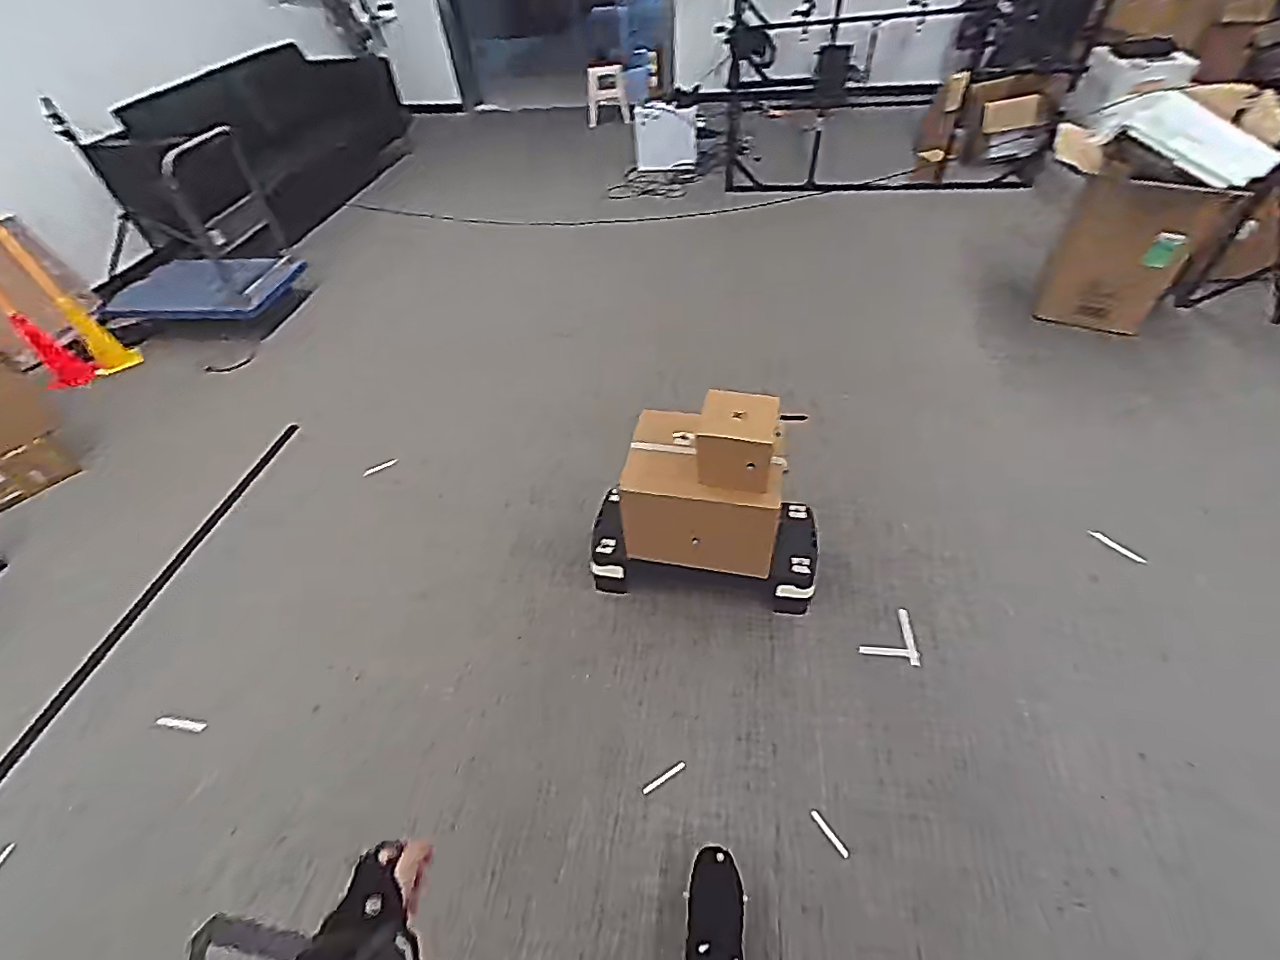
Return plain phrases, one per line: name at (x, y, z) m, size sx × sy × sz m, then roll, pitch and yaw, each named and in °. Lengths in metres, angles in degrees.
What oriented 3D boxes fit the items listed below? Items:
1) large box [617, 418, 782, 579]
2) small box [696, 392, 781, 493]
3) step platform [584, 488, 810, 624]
large box at (0.179, 0.052, 1.516) m, size 0.408 × 0.320 × 0.320 m, roll 6°, pitch 47°, yaw 12°
small box at (0.235, -0.087, 1.304) m, size 0.179 × 0.176 × 0.168 m, roll 8°, pitch 49°, yaw 13°
step platform at (0.173, 0.221, 1.686) m, size 0.684 × 0.204 × 0.286 m, roll 8°, pitch 48°, yaw 13°
